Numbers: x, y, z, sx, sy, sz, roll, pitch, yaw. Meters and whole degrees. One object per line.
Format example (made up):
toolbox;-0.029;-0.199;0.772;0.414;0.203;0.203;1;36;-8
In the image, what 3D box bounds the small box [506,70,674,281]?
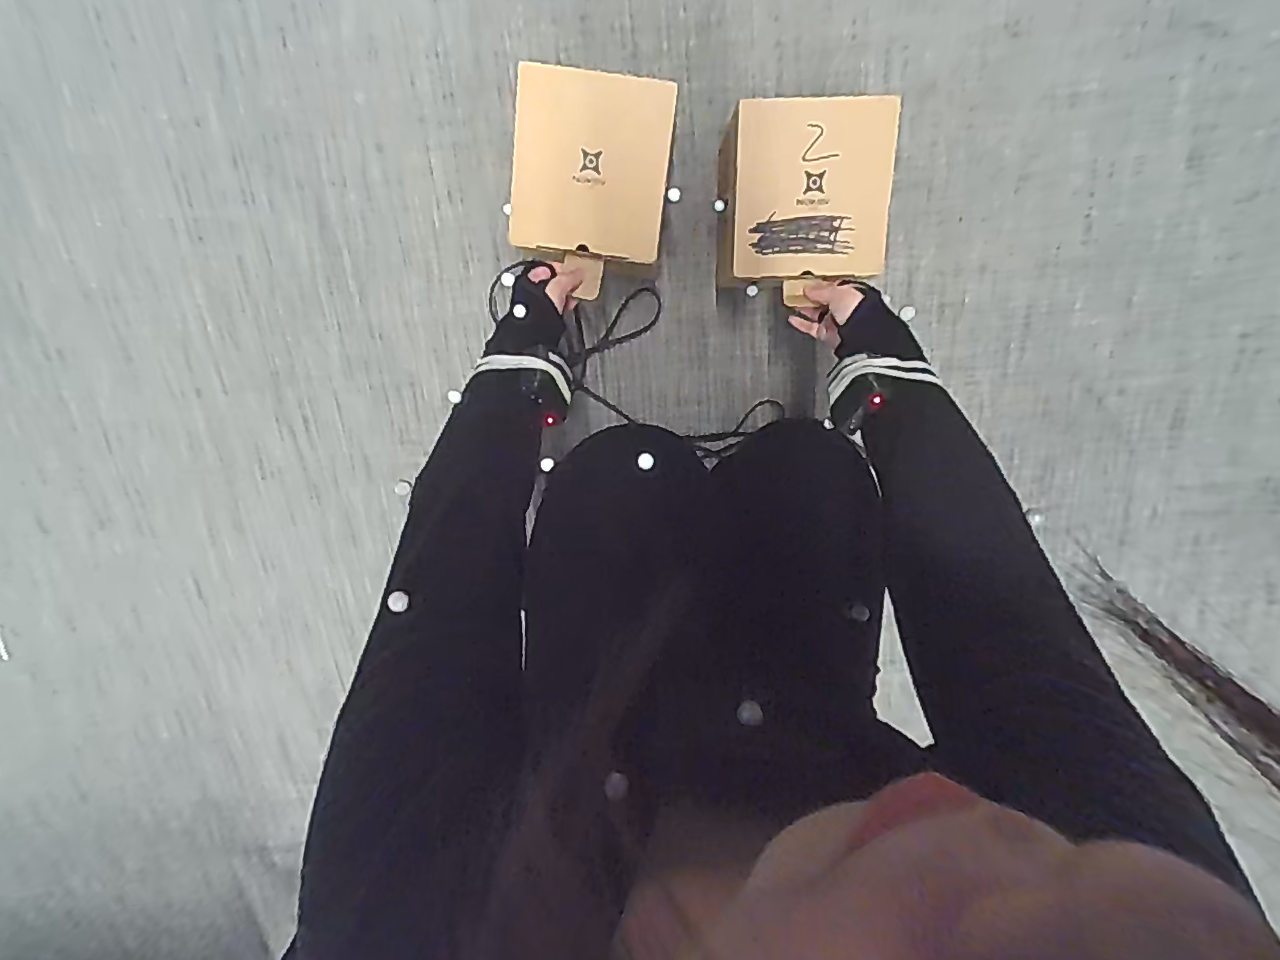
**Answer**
small box;-0.057;-0.349;0.656;0.168;0.176;0.179;7;106;-1
